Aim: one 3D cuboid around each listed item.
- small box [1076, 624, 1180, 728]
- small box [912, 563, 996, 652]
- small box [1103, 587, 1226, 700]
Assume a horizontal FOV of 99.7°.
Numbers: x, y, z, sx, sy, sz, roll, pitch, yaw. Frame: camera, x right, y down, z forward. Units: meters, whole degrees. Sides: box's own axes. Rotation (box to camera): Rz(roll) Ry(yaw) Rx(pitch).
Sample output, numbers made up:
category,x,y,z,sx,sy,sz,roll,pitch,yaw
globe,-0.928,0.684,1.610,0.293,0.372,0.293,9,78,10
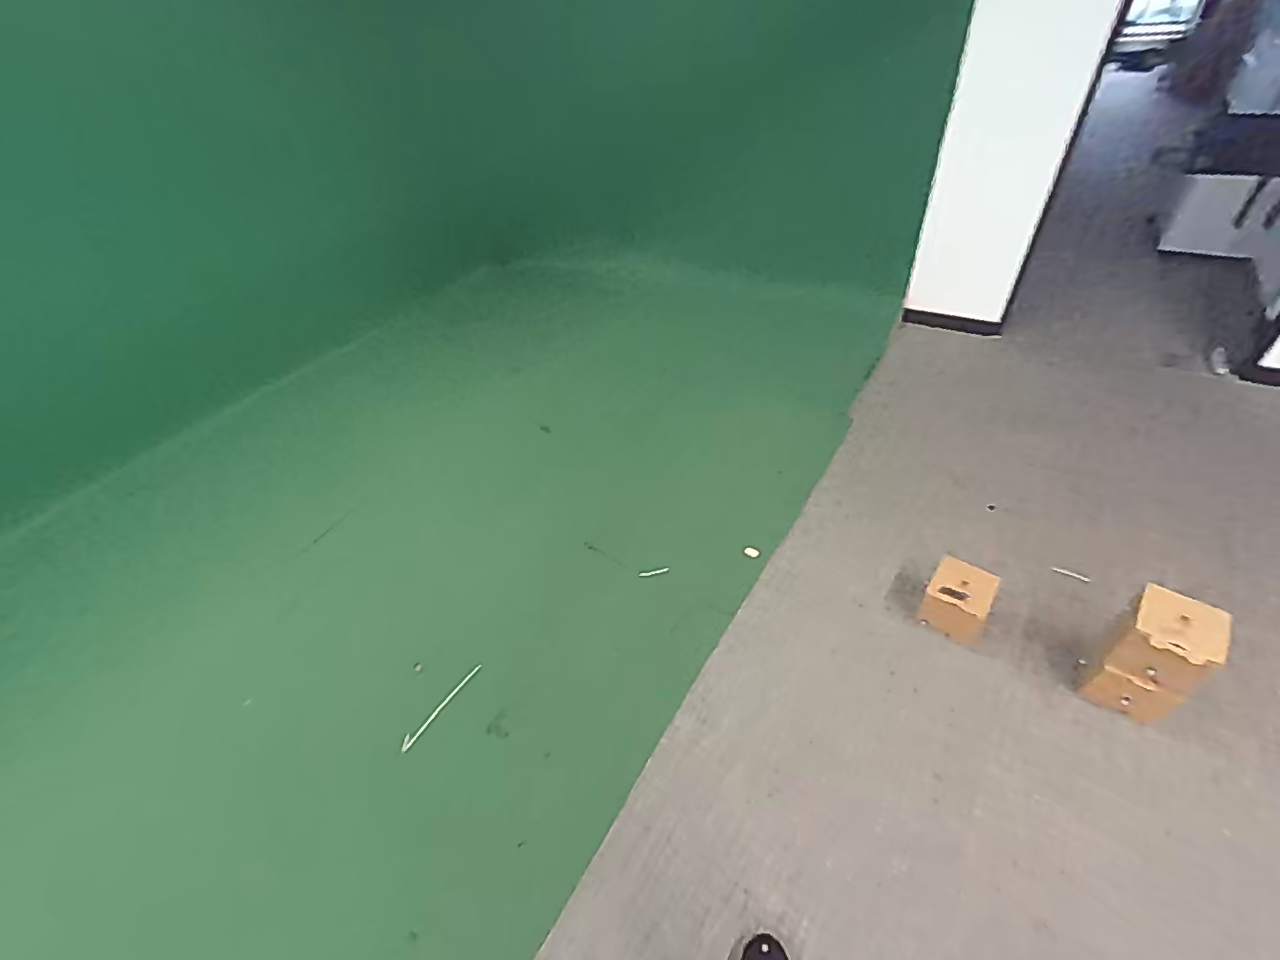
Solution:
category,x,y,z,sx,sy,sz,roll,pitch,yaw
small box,1.334,0.539,1.479,0.168,0.176,0.179,24,53,29
small box,0.980,0.404,1.699,0.168,0.176,0.179,27,53,30
small box,1.321,0.415,1.370,0.168,0.176,0.179,27,54,33
